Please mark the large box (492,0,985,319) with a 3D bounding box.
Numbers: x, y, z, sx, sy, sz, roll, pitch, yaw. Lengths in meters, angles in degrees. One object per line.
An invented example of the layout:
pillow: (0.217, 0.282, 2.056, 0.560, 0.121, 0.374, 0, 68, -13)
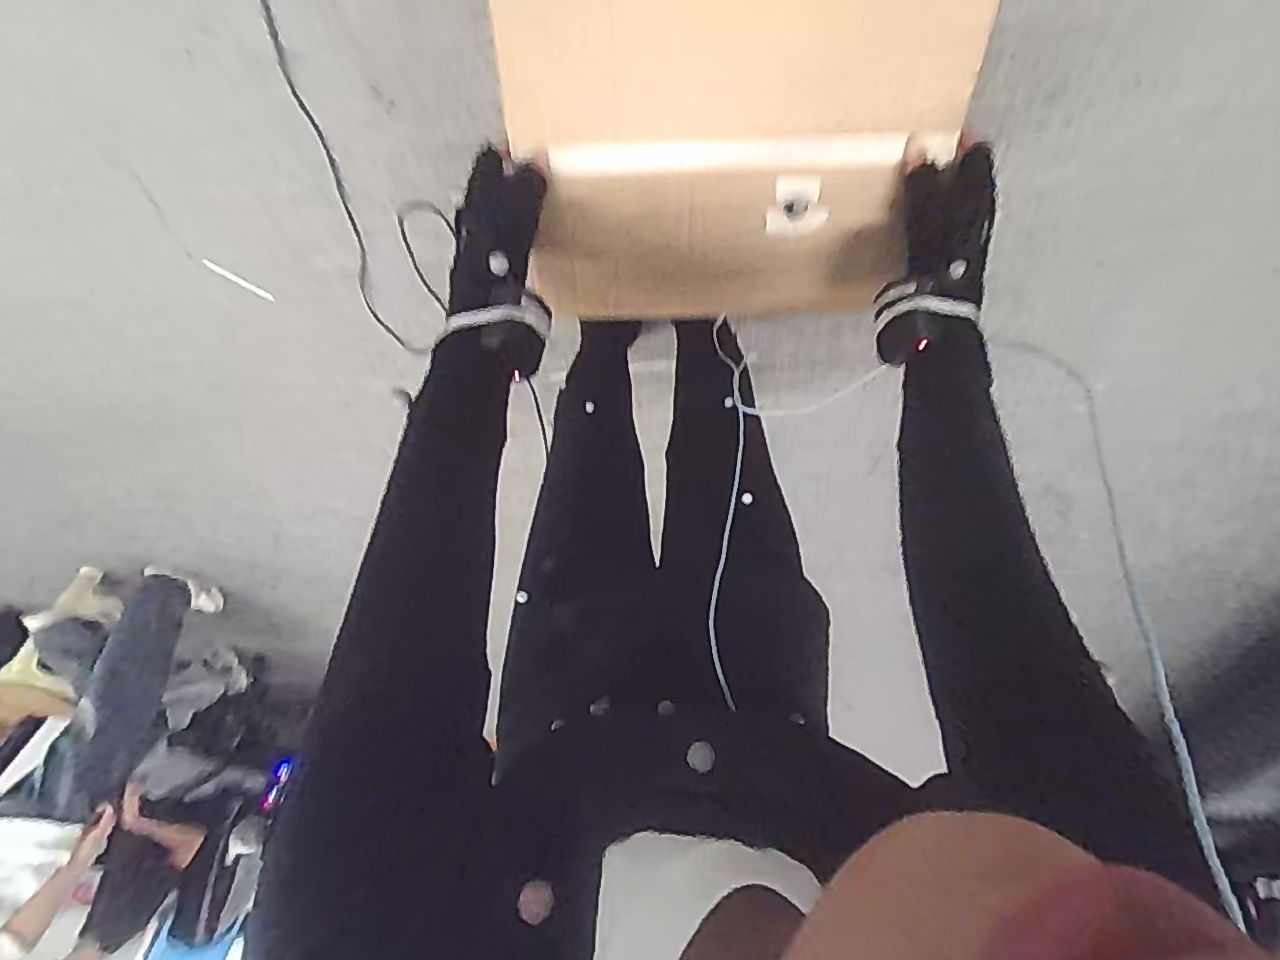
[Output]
large box: (0.086, -0.397, 0.618, 0.408, 0.320, 0.320, -1, 129, 3)
